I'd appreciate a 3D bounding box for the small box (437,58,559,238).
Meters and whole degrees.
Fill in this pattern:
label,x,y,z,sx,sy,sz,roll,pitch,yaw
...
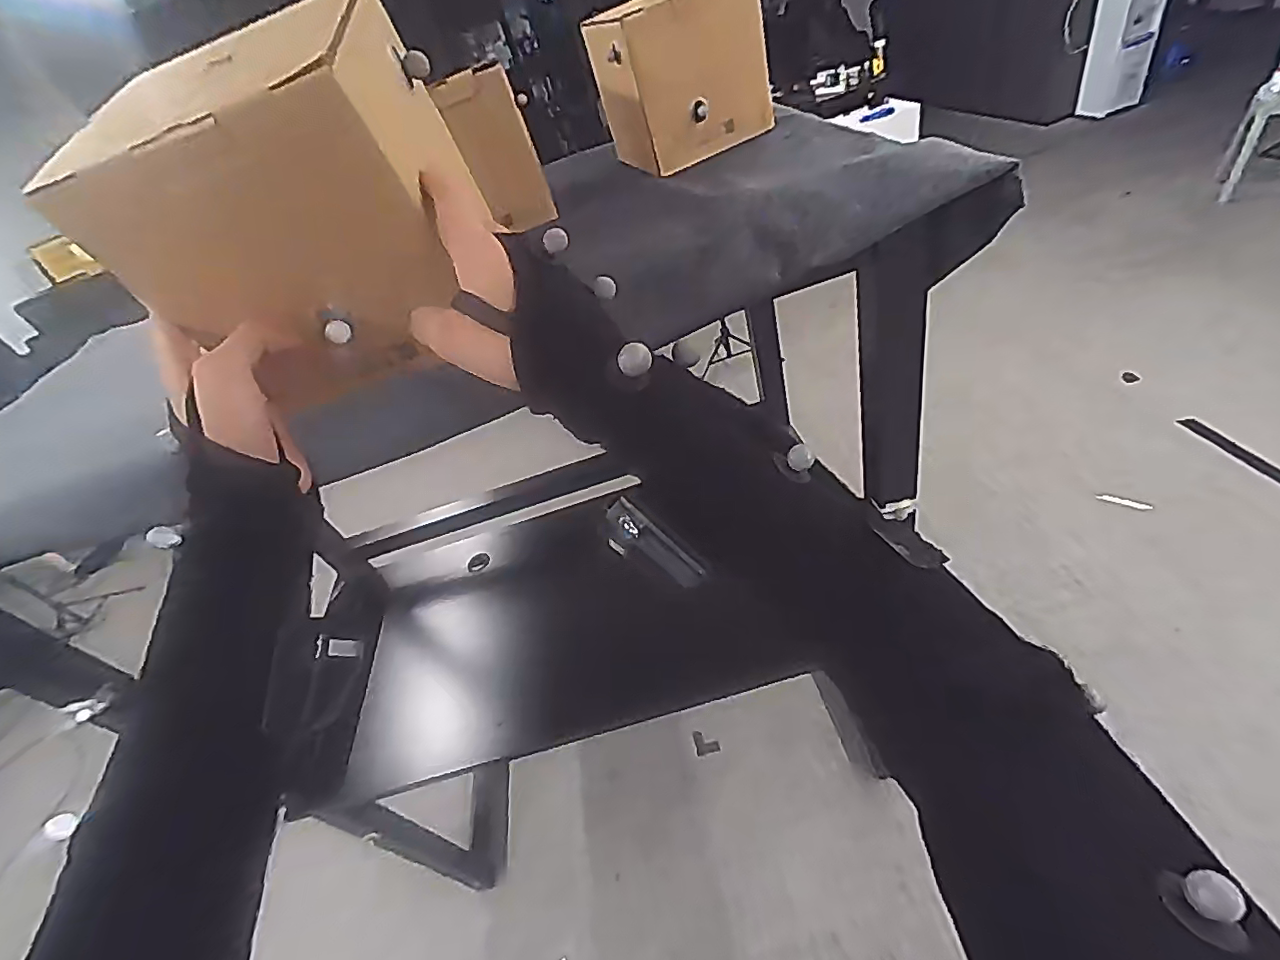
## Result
label,x,y,z,sx,sy,sz,roll,pitch,yaw
small box,-0.213,-0.421,0.710,0.168,0.176,0.179,-19,39,2

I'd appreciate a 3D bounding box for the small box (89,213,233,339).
label,x,y,z,sx,sy,sz,roll,pitch,yaw
small box,-0.575,-0.325,0.759,0.168,0.176,0.179,-15,40,8

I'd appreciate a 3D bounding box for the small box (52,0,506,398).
label,x,y,z,sx,sy,sz,roll,pitch,yaw
small box,-0.204,-0.189,0.368,0.168,0.176,0.179,-18,54,5

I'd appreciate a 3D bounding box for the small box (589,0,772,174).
label,x,y,z,sx,sy,sz,roll,pitch,yaw
small box,0.054,-0.525,0.707,0.168,0.176,0.179,-26,42,-4
